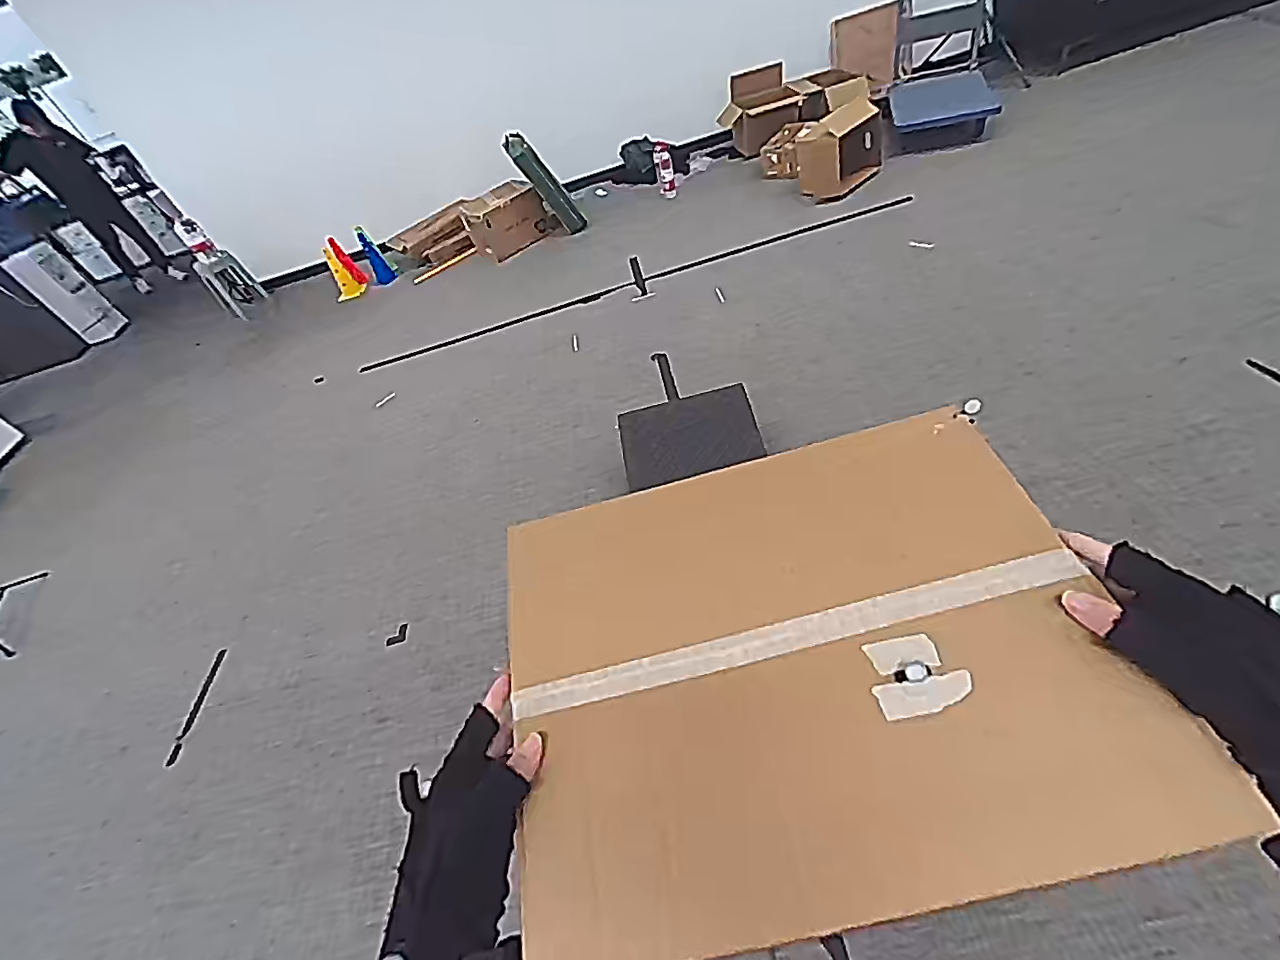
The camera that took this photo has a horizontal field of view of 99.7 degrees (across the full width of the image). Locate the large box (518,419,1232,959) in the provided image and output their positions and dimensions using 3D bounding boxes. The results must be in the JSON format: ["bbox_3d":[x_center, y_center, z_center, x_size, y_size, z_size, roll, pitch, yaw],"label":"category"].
[{"bbox_3d":[0.135,0.203,0.509,0.408,0.320,0.320,-15,53,3],"label":"large box"}]
